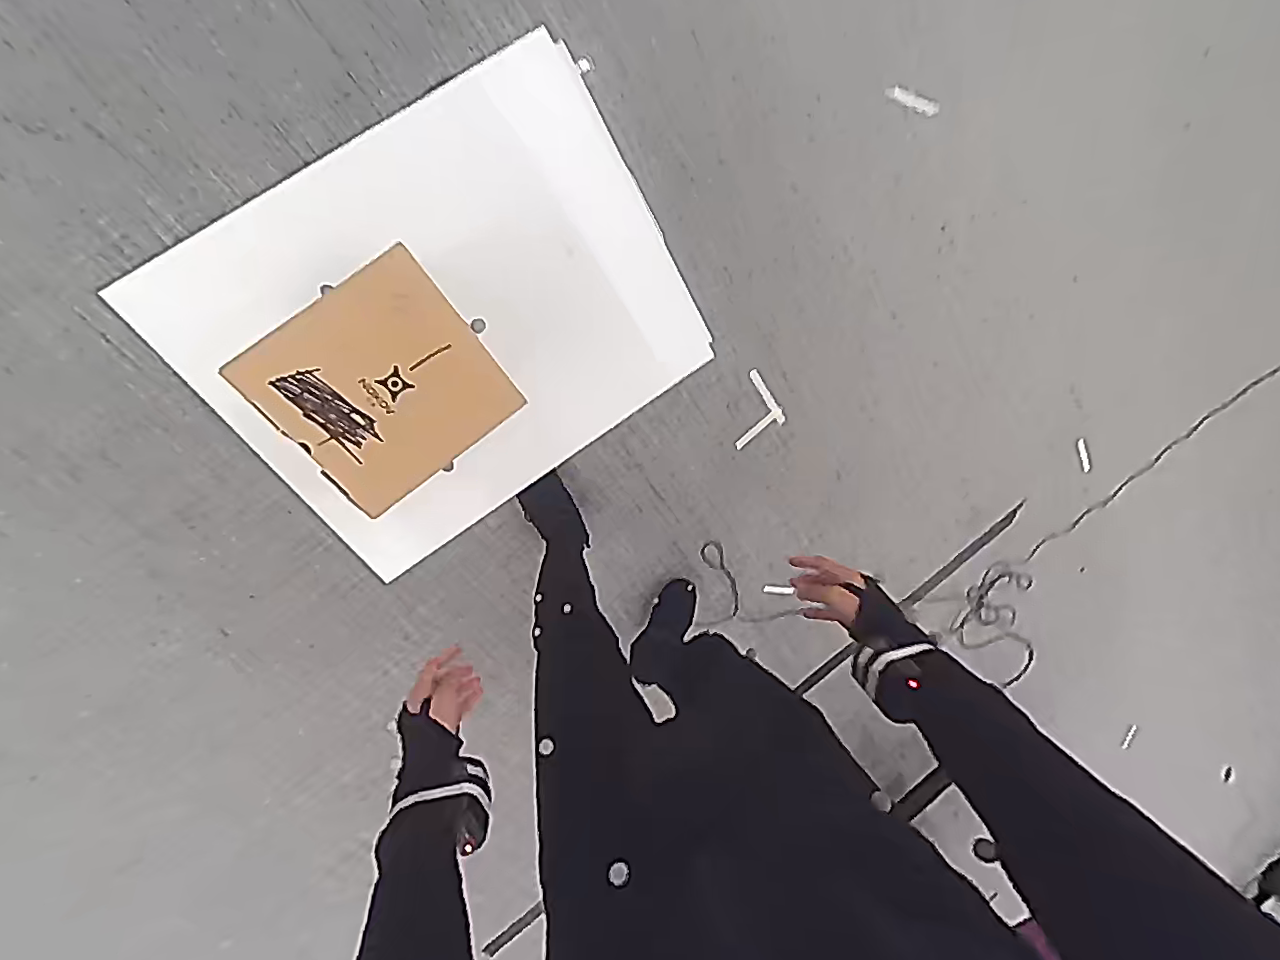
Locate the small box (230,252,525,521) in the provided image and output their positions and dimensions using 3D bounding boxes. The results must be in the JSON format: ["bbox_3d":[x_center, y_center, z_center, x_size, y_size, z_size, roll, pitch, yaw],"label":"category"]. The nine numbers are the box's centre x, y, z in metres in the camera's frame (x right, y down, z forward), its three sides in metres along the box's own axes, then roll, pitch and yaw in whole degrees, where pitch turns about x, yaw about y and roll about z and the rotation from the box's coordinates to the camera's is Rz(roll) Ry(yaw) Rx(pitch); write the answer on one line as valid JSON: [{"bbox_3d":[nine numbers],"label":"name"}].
[{"bbox_3d":[-0.238,-0.094,0.535,0.179,0.176,0.168,-39,114,-5],"label":"small box"}]
